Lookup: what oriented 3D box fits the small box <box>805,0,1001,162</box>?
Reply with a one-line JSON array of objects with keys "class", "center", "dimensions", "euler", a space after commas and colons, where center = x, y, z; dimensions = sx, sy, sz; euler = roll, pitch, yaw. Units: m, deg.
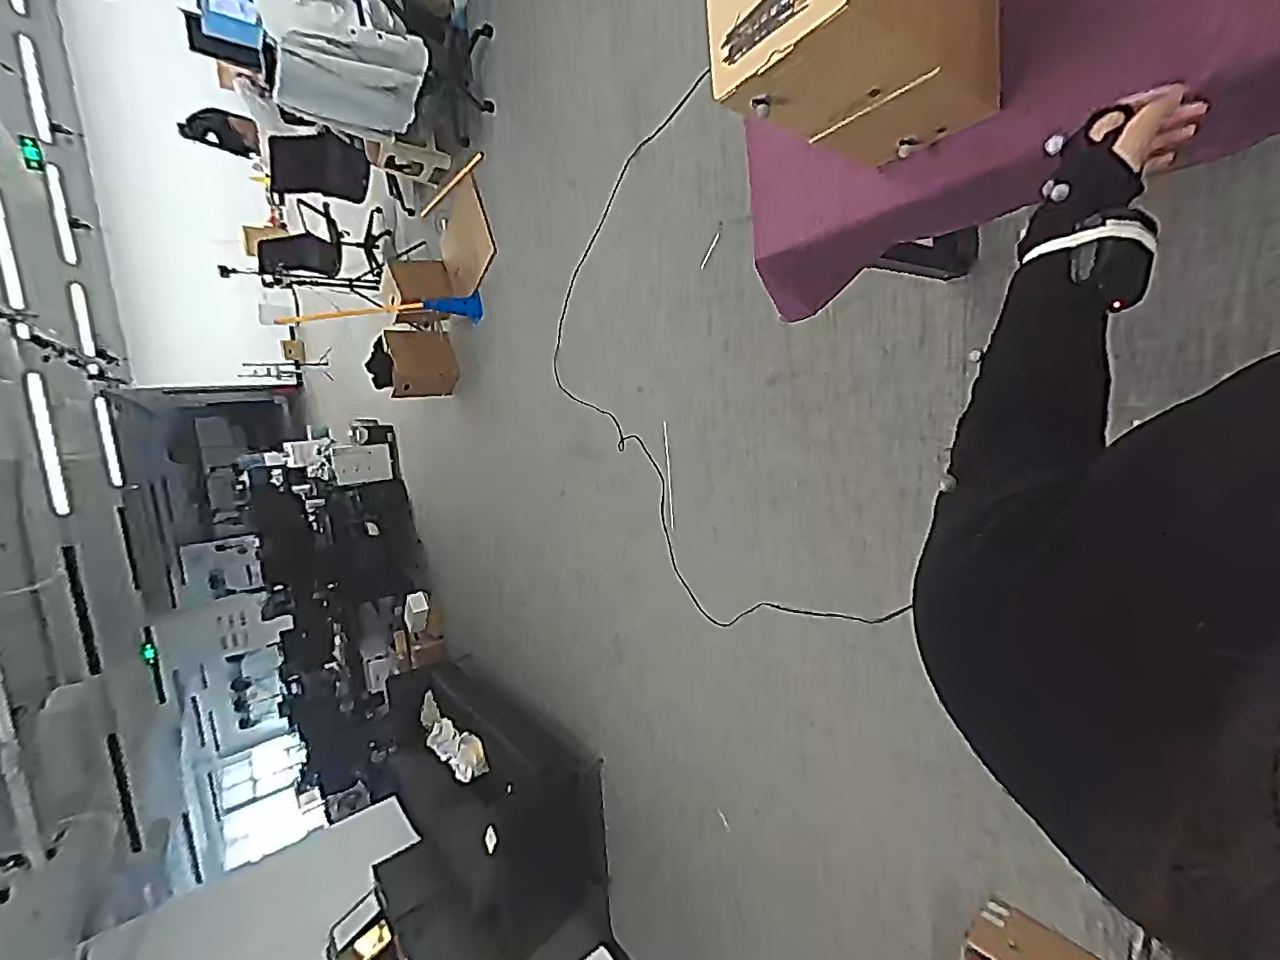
[{"class": "small box", "center": [0.328, -0.534, 0.675], "dimensions": [0.168, 0.176, 0.179], "euler": [4, 102, 53]}]

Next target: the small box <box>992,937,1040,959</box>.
[{"class": "small box", "center": [0.993, 1.348, 1.388], "dimensions": [0.168, 0.176, 0.179], "euler": [10, 107, 51]}]
